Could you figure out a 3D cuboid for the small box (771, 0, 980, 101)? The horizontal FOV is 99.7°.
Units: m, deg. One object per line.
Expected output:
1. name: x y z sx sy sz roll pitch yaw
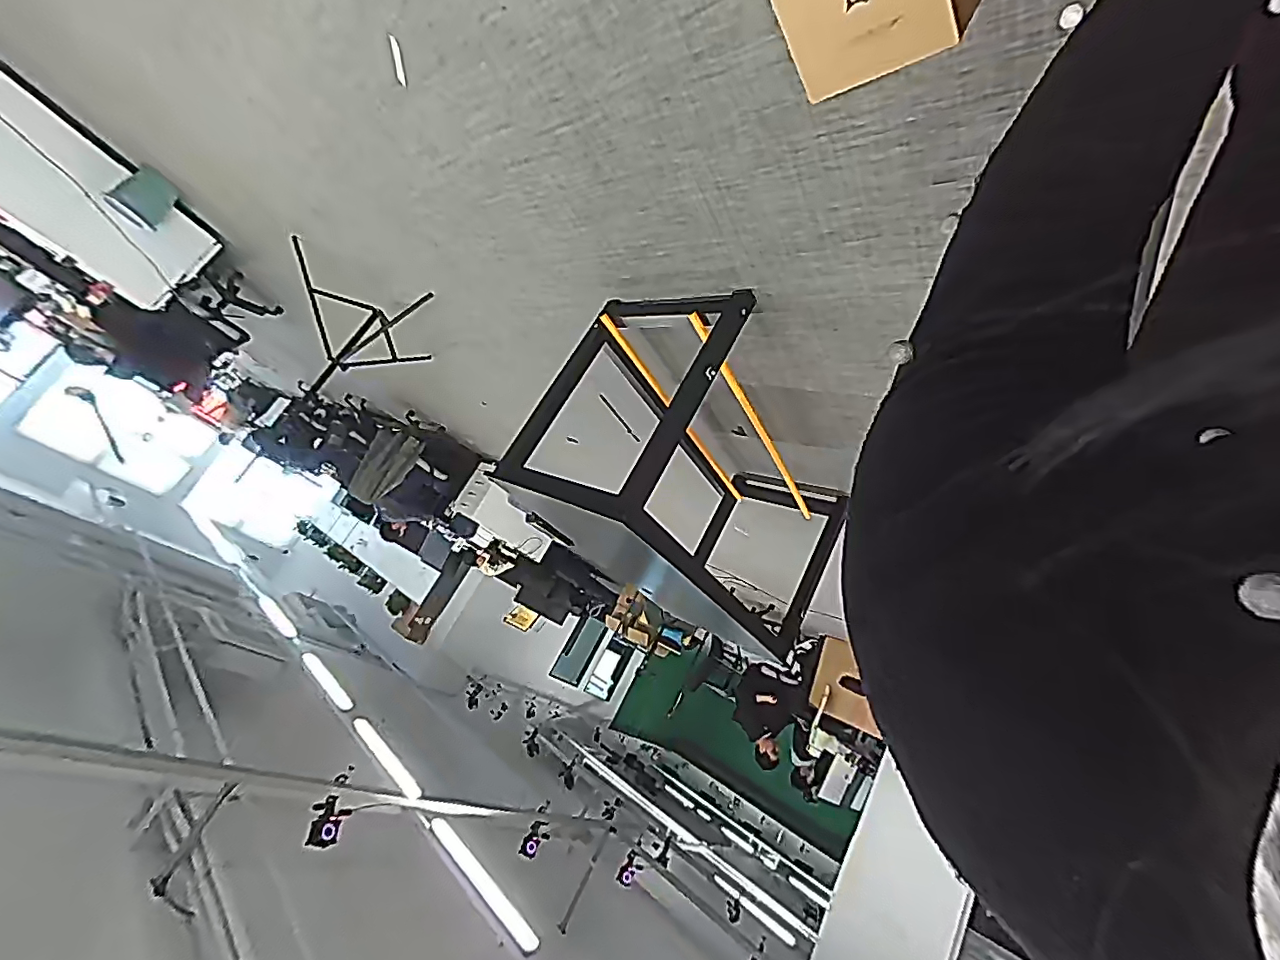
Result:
1. small box: 0.248 -0.552 0.554 0.168 0.176 0.179 13 158 48
